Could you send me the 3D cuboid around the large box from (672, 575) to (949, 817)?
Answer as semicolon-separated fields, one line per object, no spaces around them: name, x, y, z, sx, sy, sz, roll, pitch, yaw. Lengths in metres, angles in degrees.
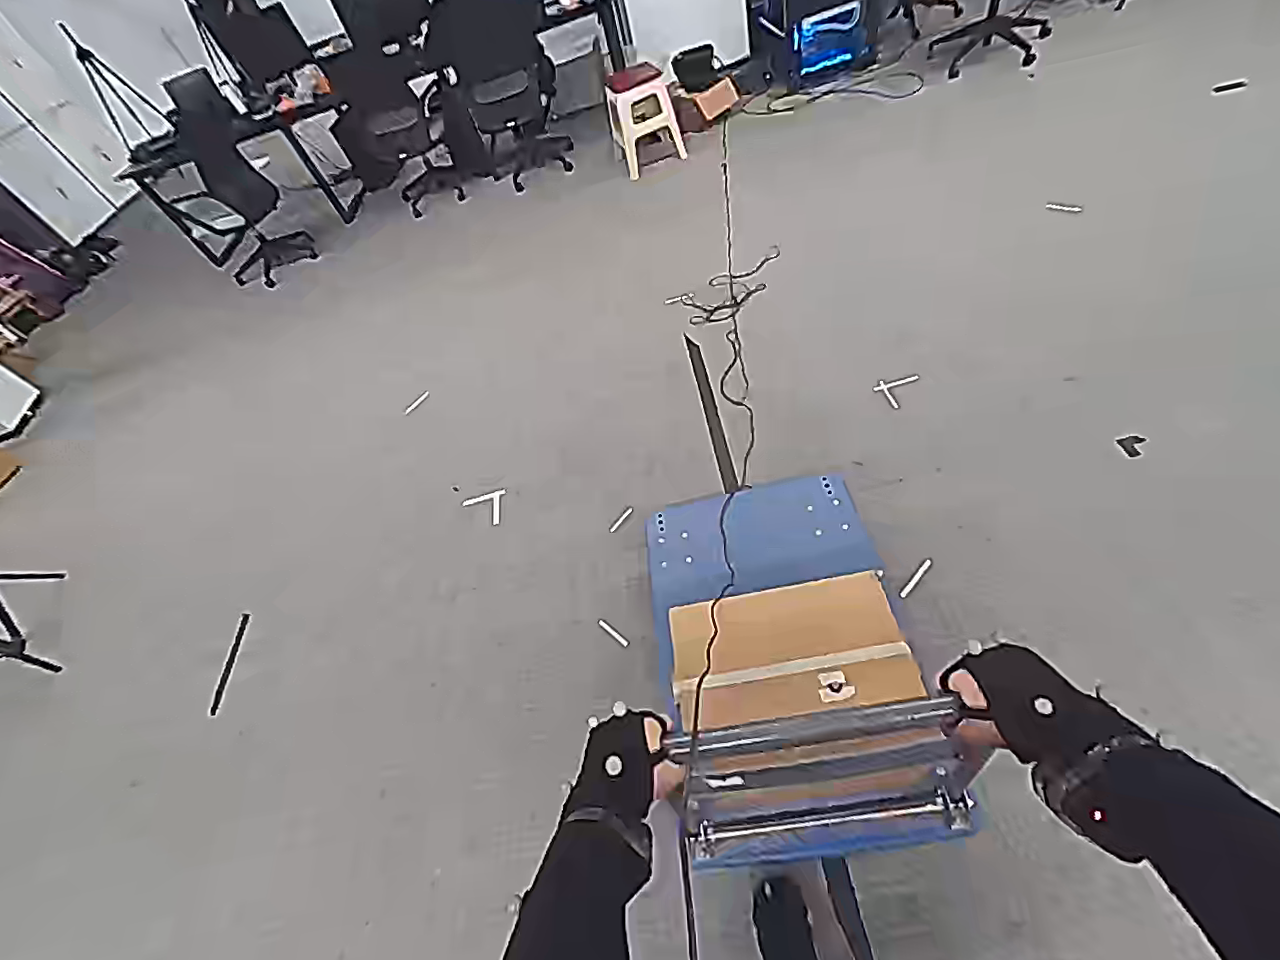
large box;0.299;0.427;1.046;0.408;0.320;0.320;-12;50;8
